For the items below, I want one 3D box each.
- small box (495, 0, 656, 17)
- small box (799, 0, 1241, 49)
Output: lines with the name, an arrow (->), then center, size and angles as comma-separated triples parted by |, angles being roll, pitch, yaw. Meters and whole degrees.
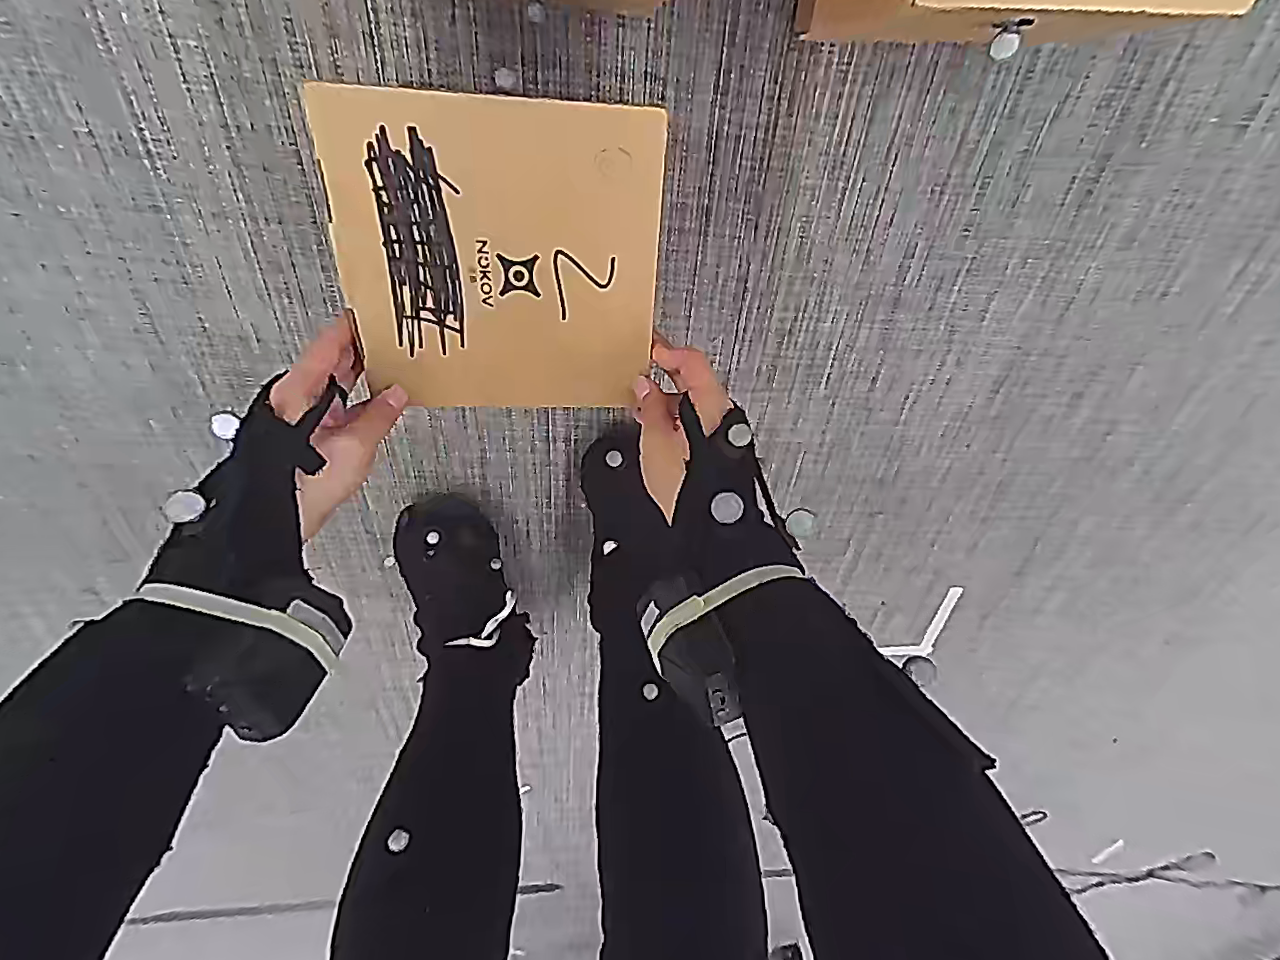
small box -> -0.063, -0.336, 0.249 | 0.179, 0.176, 0.168 | 1, 125, -8
small box -> 0.206, -0.338, 0.284 | 0.179, 0.176, 0.168 | -2, 126, -4
